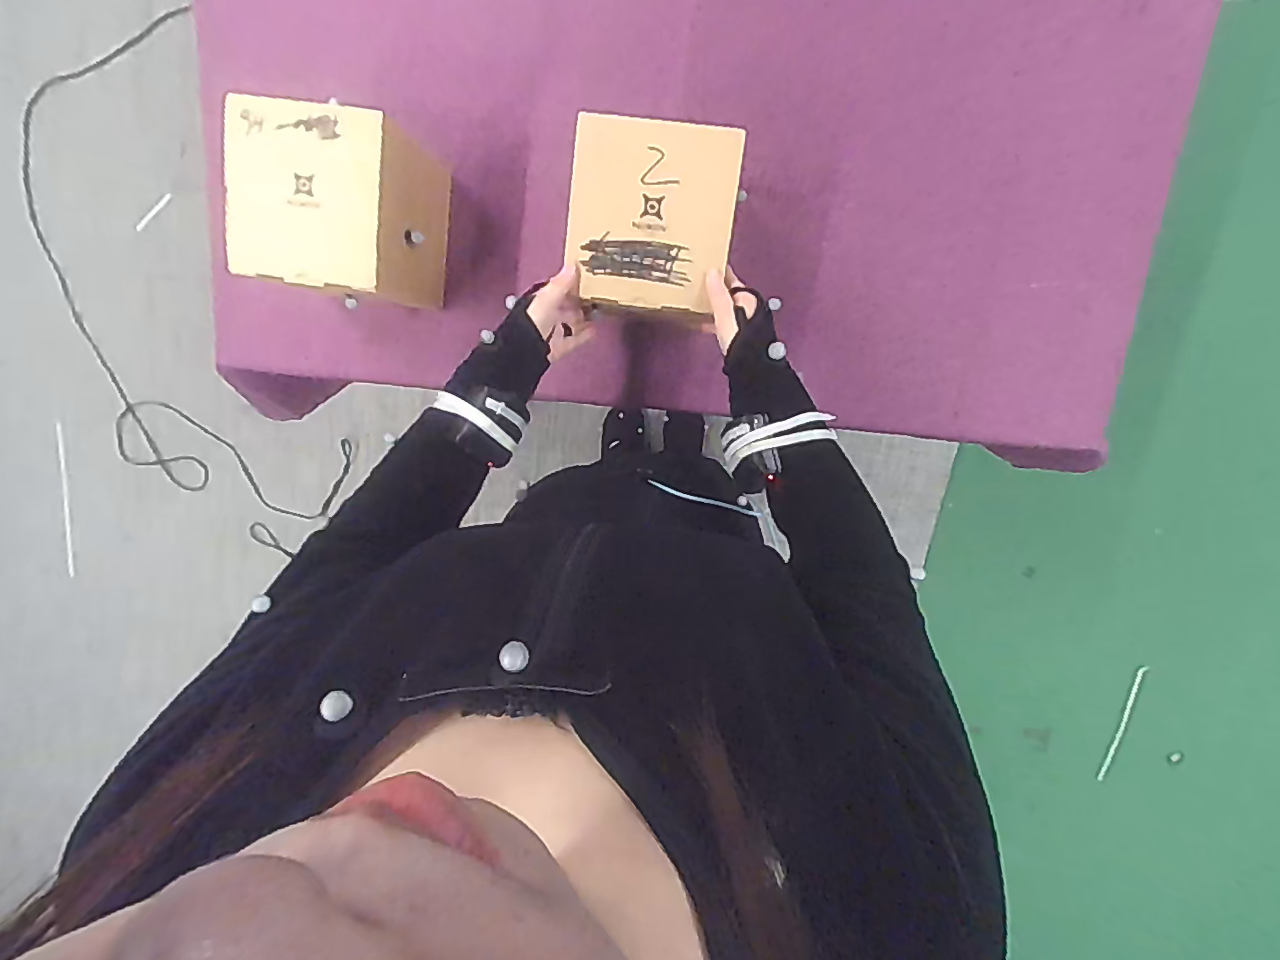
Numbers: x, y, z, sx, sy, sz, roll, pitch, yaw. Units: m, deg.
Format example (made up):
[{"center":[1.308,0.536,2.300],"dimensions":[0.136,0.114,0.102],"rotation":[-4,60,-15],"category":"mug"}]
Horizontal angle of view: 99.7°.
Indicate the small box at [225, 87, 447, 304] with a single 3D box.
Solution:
[{"center":[-0.339,-0.311,0.631],"dimensions":[0.168,0.176,0.179],"rotation":[9,102,1],"category":"small box"}]
